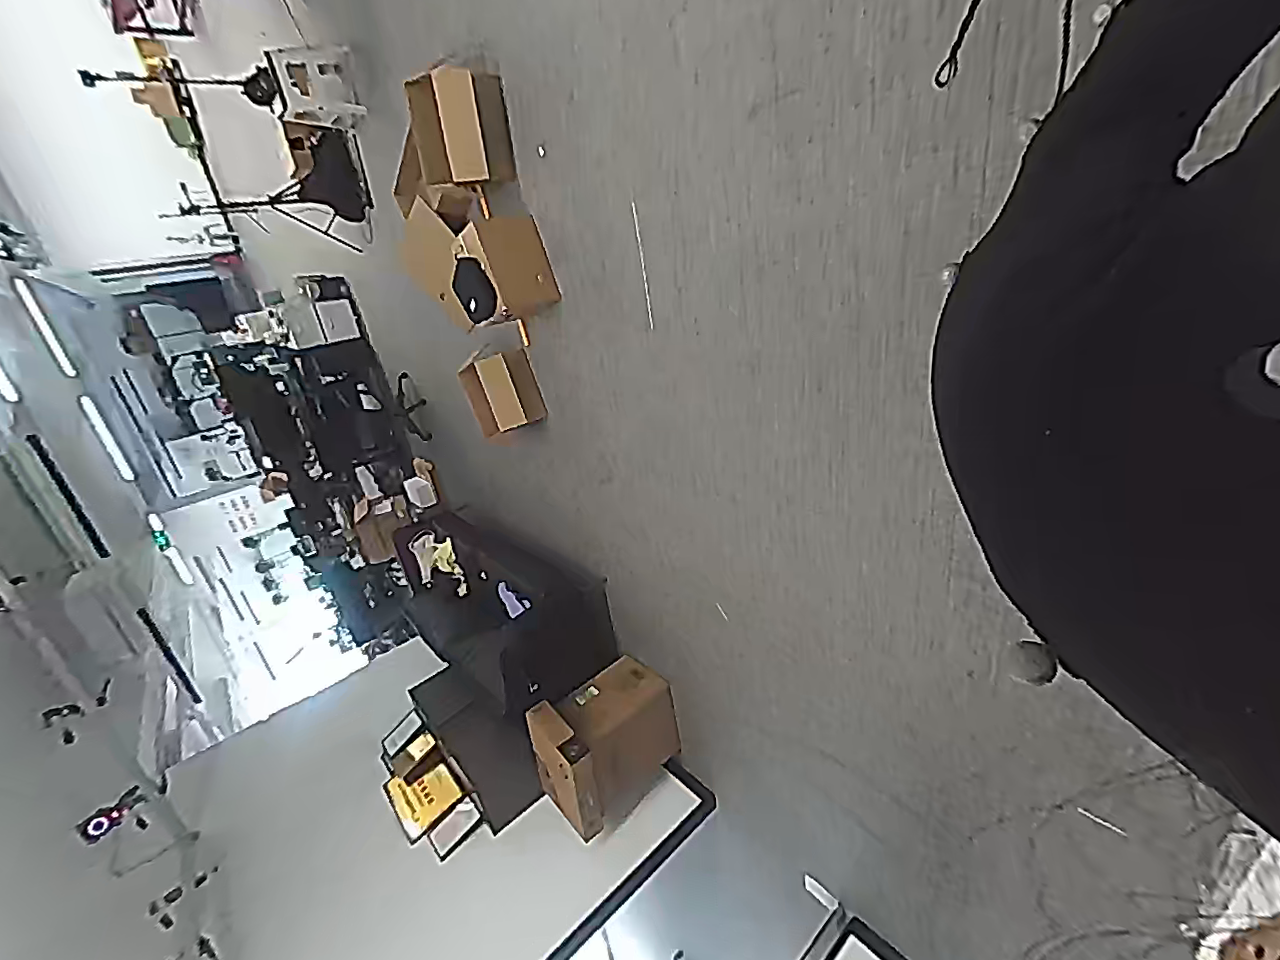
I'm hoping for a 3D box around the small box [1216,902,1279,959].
[{"bbox_3d":[0.892,0.702,0.690,0.179,0.176,0.168,33,135,37],"label":"small box"}]
